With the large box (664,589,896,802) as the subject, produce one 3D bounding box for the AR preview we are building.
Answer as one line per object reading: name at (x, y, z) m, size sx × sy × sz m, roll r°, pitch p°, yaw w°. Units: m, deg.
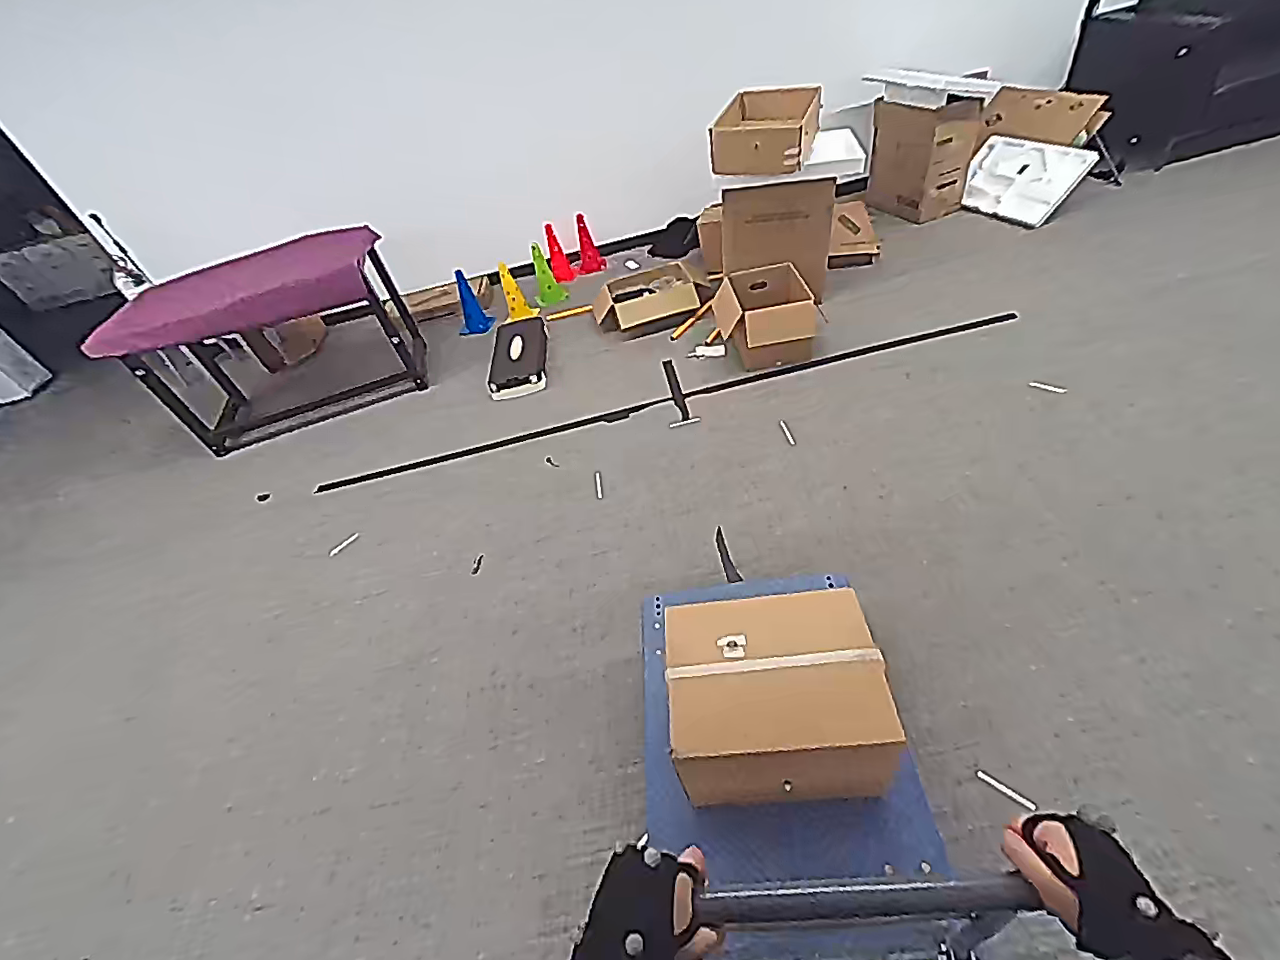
large box at (0.281, 0.474, 1.171) m, size 0.408 × 0.320 × 0.320 m, roll -9°, pitch 43°, yaw 8°
